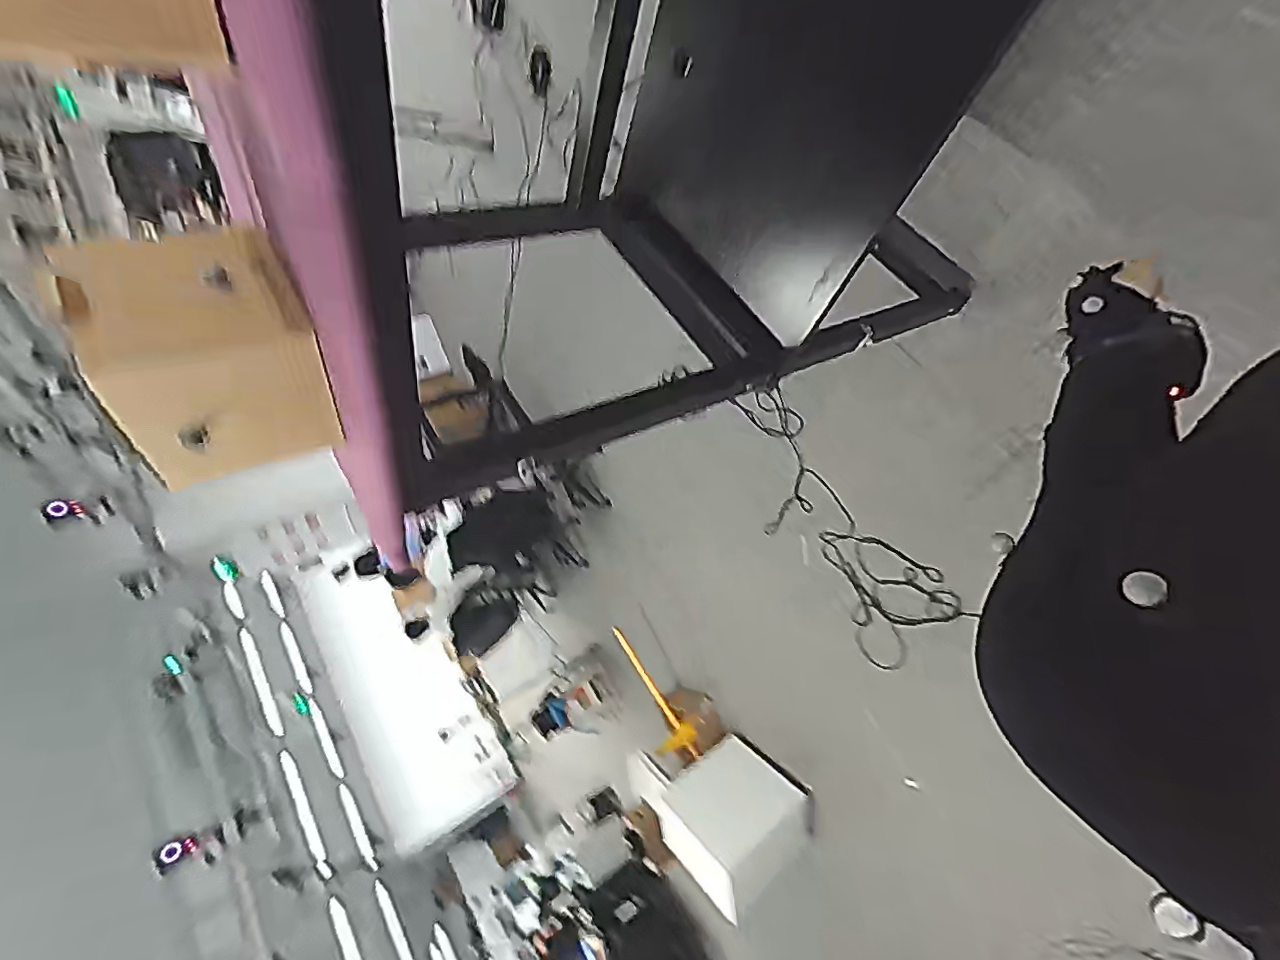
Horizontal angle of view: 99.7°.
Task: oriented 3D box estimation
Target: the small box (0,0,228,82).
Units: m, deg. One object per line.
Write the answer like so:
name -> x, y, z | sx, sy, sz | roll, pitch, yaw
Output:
small box -> -0.342, -0.332, 0.270 | 0.168, 0.176, 0.179 | 56, 148, 22

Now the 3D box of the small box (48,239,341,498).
small box -> -0.426, -0.115, 0.548 | 0.168, 0.176, 0.179 | 53, 147, 21
